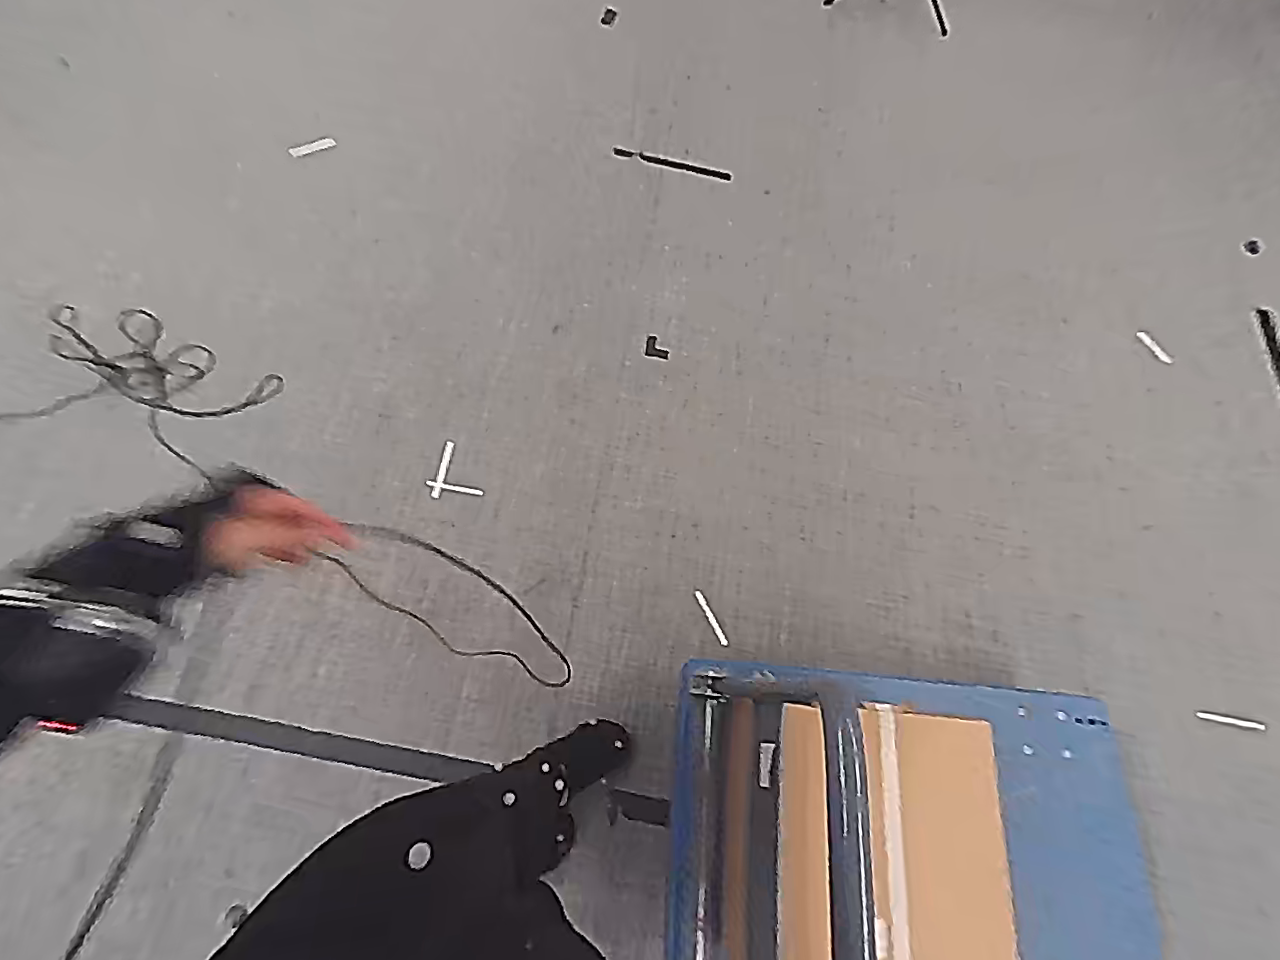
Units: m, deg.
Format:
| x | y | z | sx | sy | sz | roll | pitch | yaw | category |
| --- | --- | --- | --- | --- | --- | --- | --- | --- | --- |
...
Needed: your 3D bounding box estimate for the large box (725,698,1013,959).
| x | y | z | sx | sy | sz | roll | pitch | yaw | category |
| --- | --- | --- | --- | --- | --- | --- | --- | --- | --- |
| 0.322 | 0.573 | 0.853 | 0.320 | 0.320 | 0.408 | 6 | 70 | -1 | large box |
